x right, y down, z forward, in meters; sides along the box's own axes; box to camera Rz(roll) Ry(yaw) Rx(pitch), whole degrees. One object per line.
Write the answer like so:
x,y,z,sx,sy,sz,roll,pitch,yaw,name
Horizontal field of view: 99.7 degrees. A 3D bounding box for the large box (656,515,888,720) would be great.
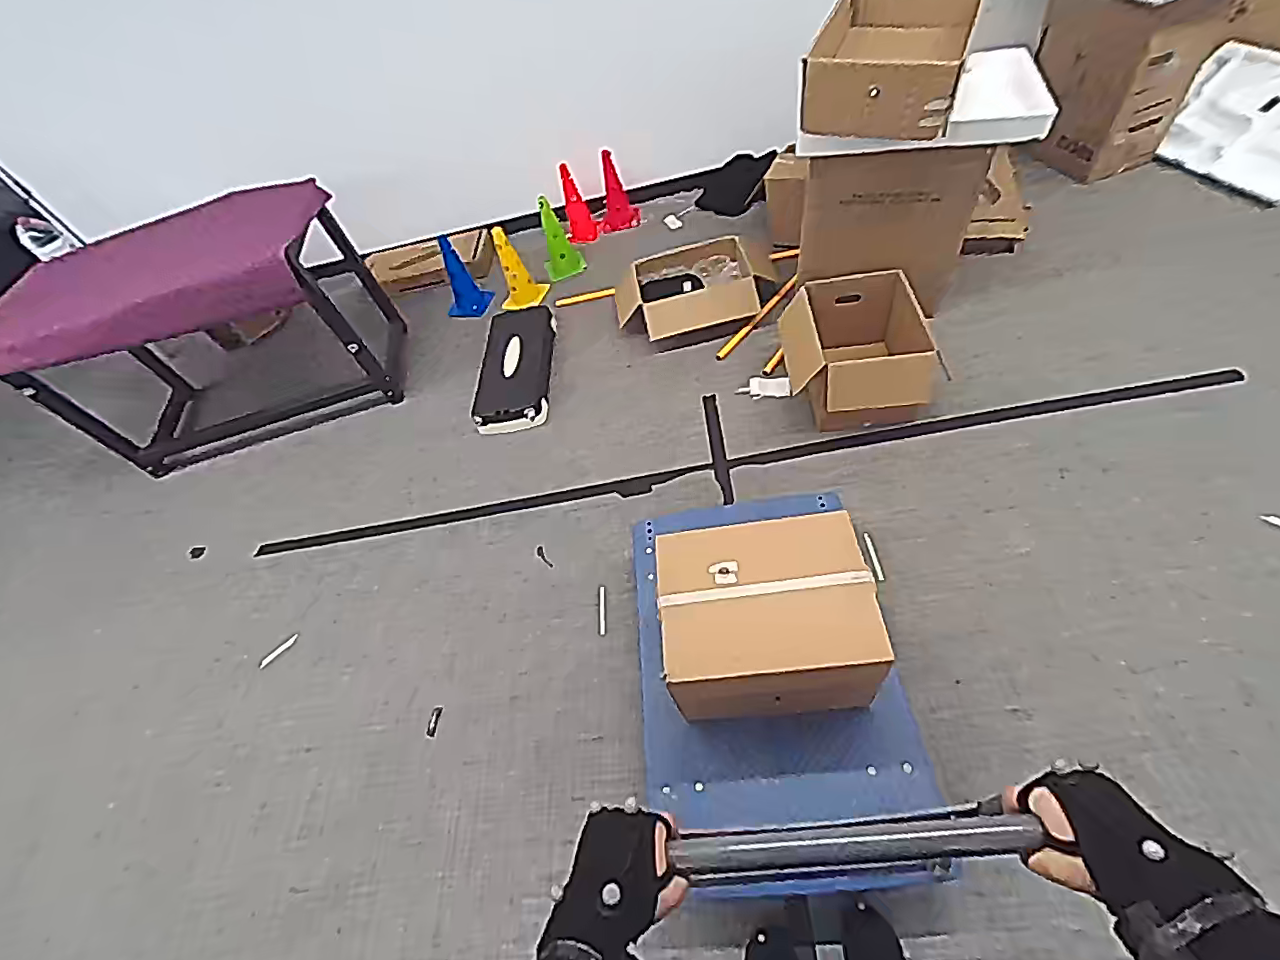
0.268,0.311,1.178,0.408,0.320,0.320,-9,52,8,large box
